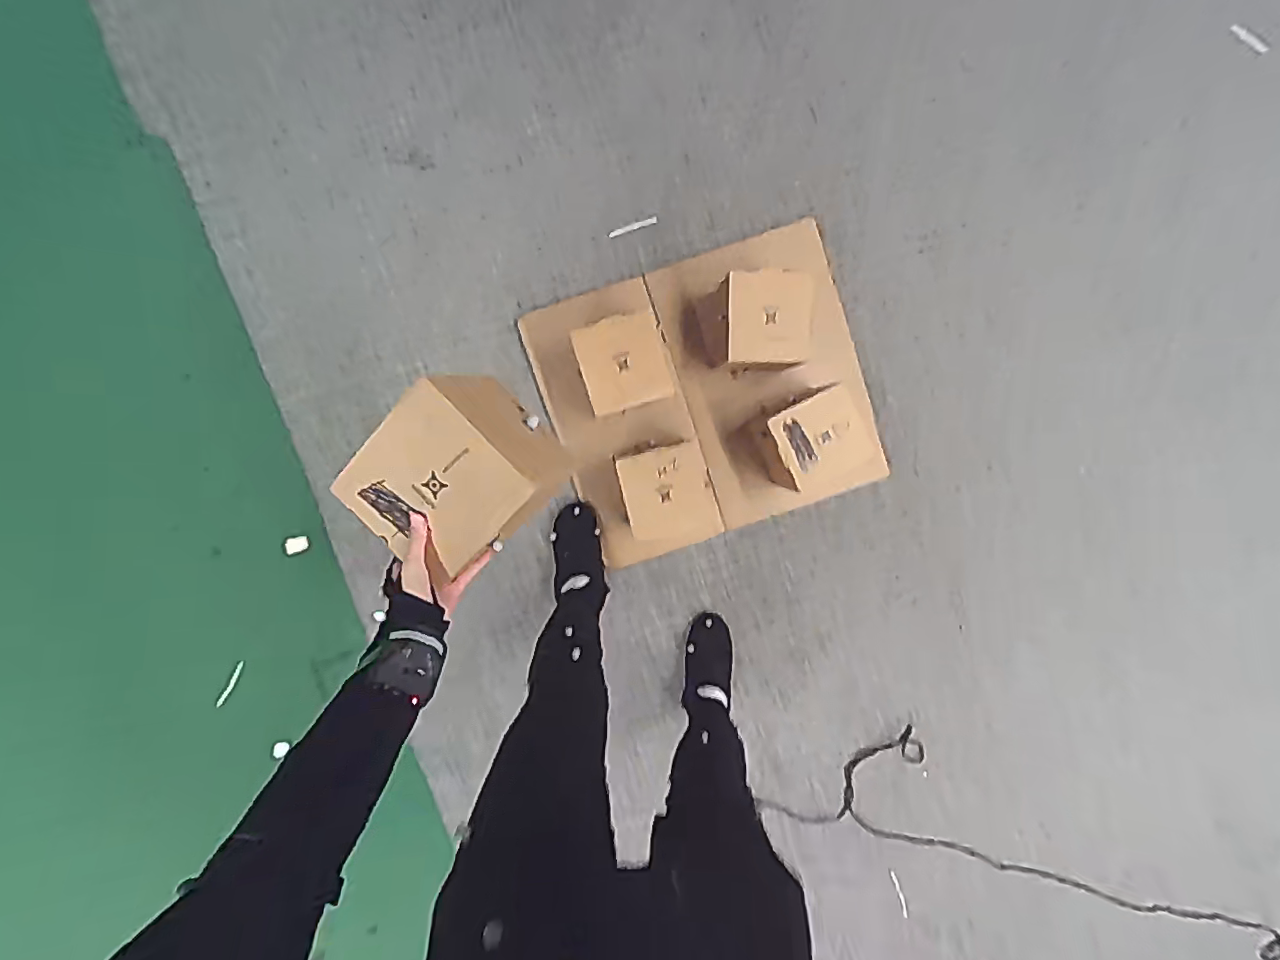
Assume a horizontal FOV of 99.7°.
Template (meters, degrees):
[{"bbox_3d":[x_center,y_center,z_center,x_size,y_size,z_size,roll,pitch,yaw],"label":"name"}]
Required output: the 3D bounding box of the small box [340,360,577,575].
[{"bbox_3d":[-0.202,-0.022,0.650,0.179,0.176,0.168,-42,92,13],"label":"small box"}]

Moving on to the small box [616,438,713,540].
[{"bbox_3d":[0.049,0.012,1.147,0.168,0.176,0.179,-13,96,-1],"label":"small box"}]

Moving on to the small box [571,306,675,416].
[{"bbox_3d":[-0.034,-0.239,1.123,0.168,0.176,0.179,-17,95,-1],"label":"small box"}]

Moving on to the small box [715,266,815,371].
[{"bbox_3d":[0.251,-0.326,1.120,0.168,0.176,0.179,0,95,-2],"label":"small box"}]
